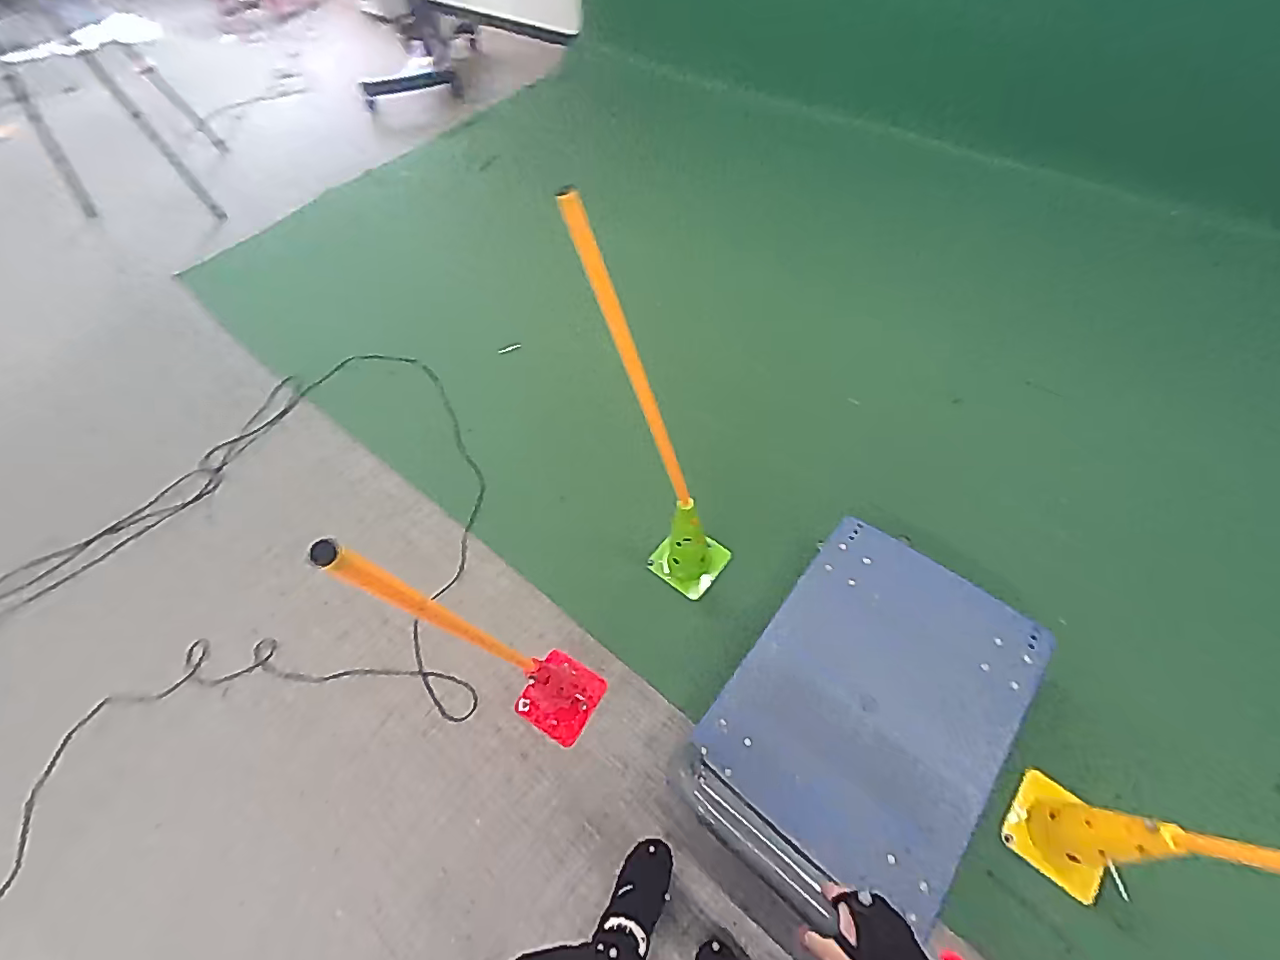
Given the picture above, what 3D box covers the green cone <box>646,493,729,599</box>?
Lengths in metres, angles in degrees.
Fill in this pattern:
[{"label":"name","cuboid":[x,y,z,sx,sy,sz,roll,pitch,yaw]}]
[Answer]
[{"label":"green cone","cuboid":[0.136,0.153,1.532,0.200,0.368,0.202,33,65,24]}]
